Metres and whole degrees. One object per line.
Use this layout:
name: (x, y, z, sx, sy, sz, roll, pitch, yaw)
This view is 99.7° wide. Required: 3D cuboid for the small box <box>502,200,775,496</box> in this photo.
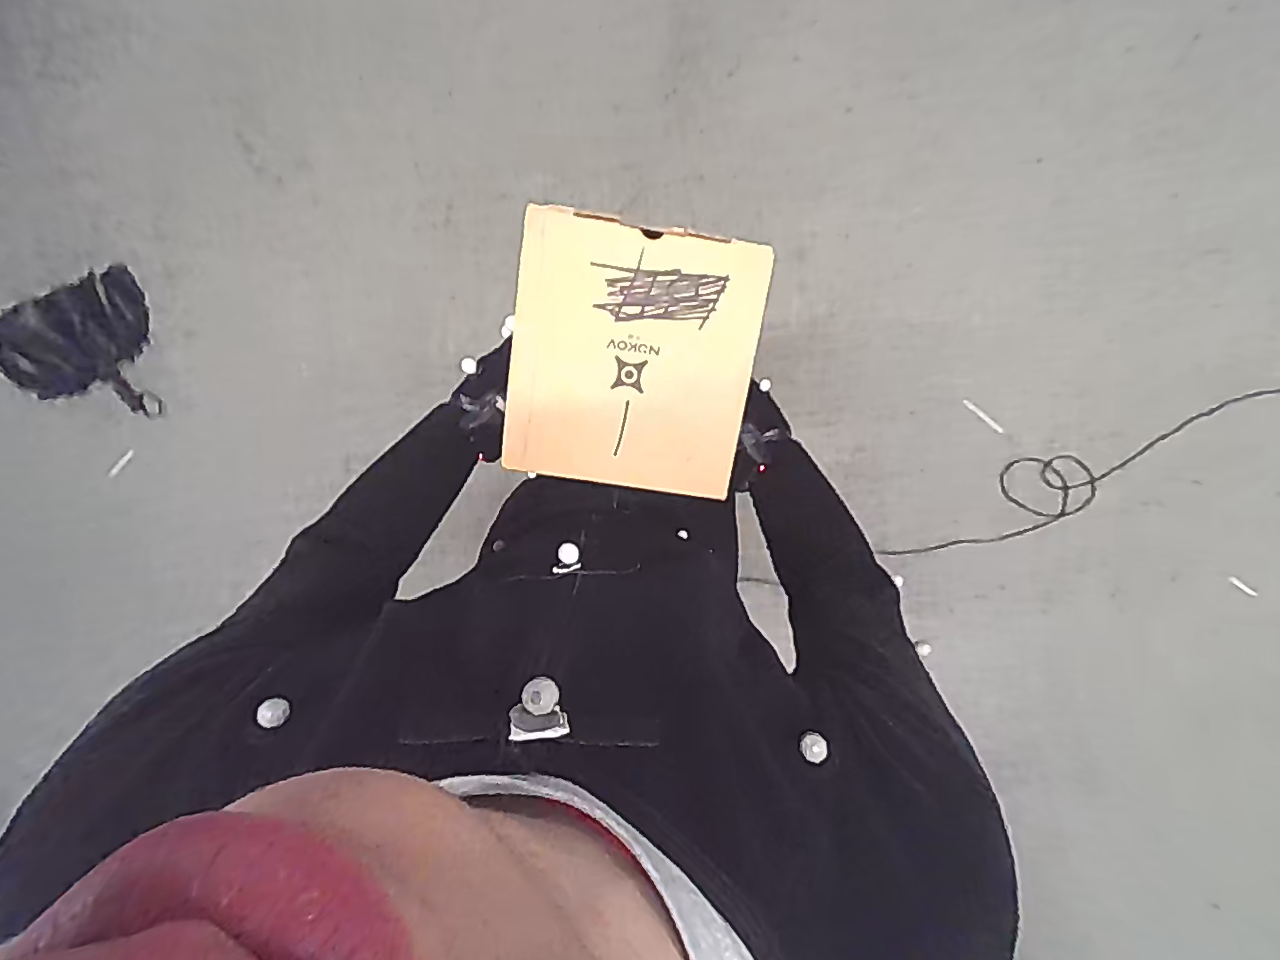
small box: (-0.007, -0.103, 0.442, 0.168, 0.176, 0.179, 8, 105, -4)
